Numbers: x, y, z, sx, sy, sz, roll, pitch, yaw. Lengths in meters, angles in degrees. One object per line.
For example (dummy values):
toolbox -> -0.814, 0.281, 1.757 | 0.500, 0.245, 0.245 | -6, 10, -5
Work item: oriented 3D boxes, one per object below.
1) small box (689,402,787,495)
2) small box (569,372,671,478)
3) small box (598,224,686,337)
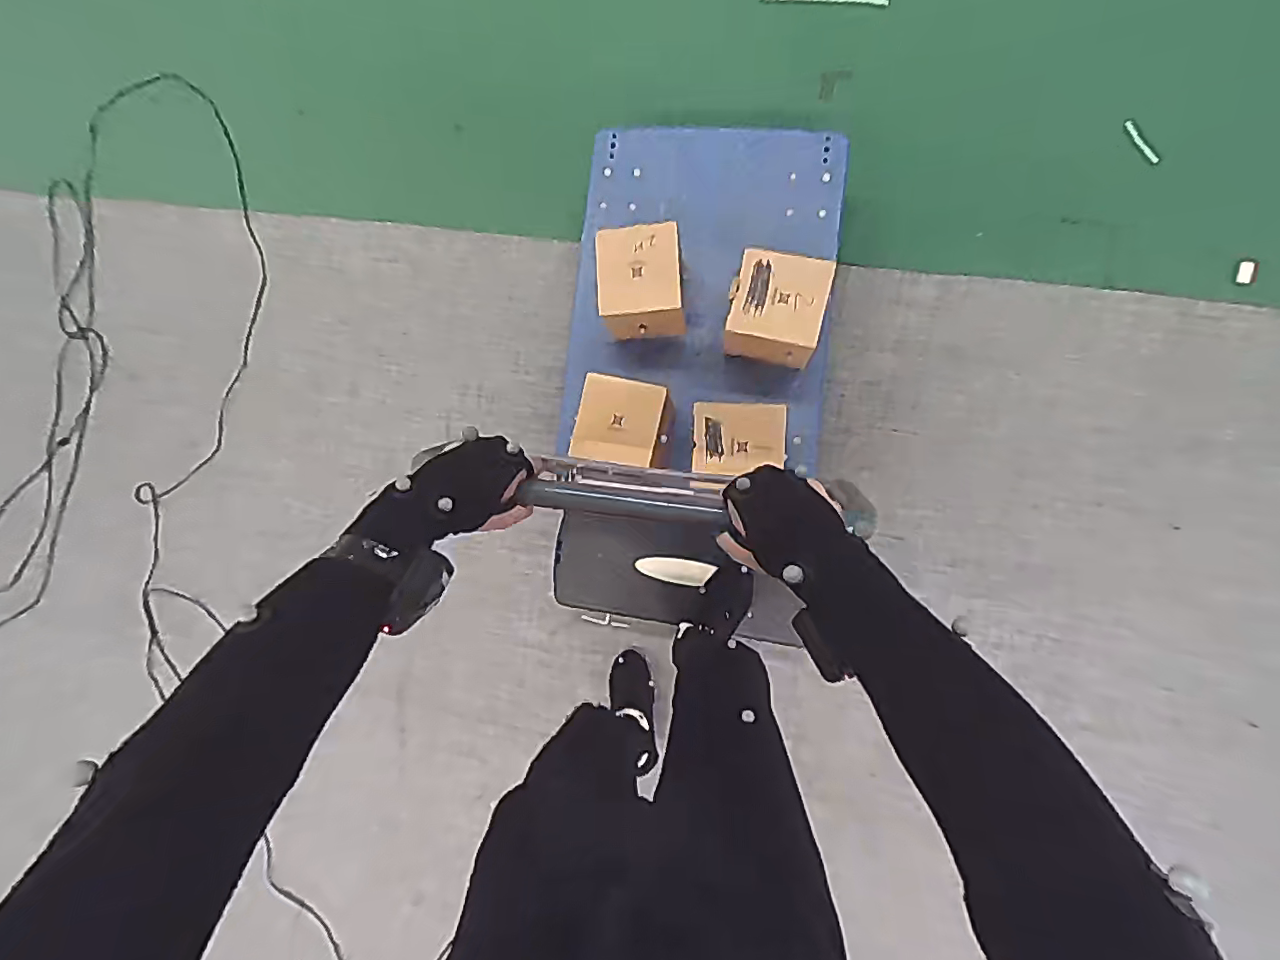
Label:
small box -> 0.196, -0.058, 1.098 | 0.179, 0.176, 0.168 | 4, 88, 8
small box -> -0.033, -0.108, 1.136 | 0.168, 0.176, 0.179 | 13, 90, 8
small box -> 0.009, -0.409, 1.142 | 0.168, 0.176, 0.179 | -2, 87, 8
